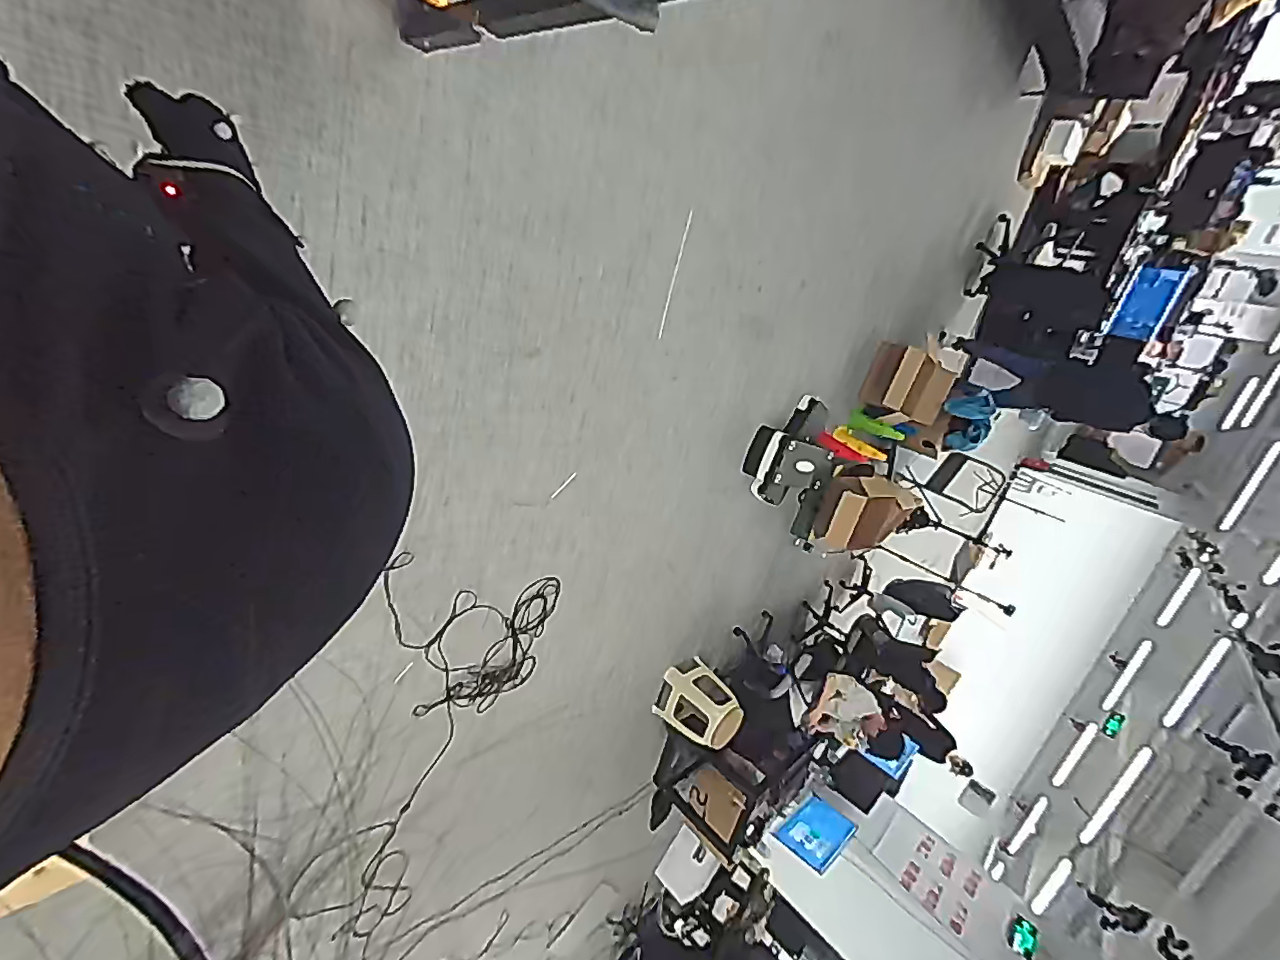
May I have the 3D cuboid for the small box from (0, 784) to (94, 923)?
[{"bbox_3d":[-1.408,0.864,1.264,0.168,0.176,0.179,-9,118,-48],"label":"small box"}]
